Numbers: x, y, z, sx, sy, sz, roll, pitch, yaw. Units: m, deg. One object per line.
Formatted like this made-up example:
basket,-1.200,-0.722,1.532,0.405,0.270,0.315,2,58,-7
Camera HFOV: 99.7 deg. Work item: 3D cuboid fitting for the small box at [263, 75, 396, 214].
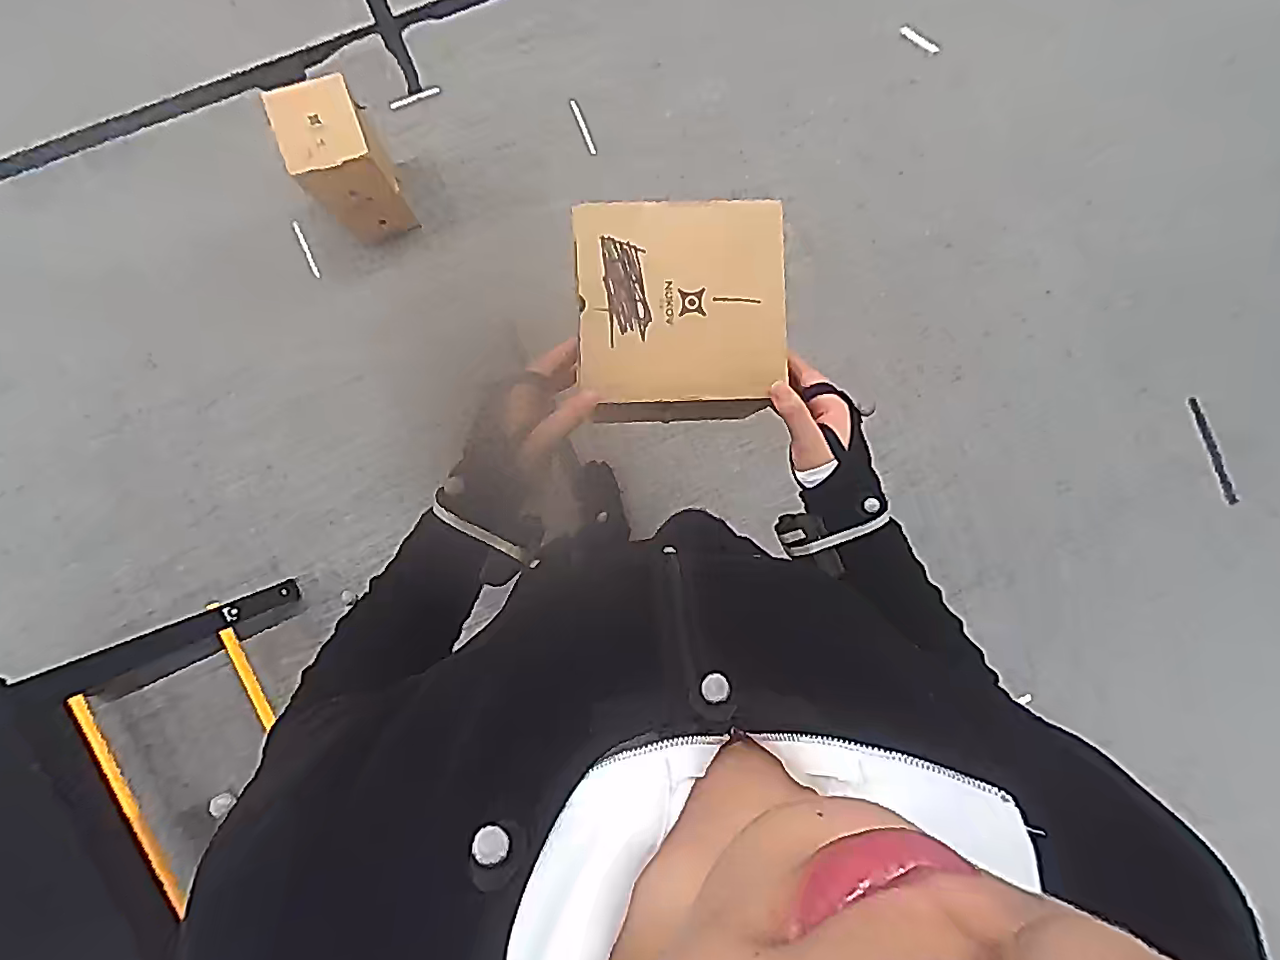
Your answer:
small box,-0.662,-0.717,1.172,0.168,0.176,0.179,-19,93,-4

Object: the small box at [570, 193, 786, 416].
small box,0.030,-0.153,0.524,0.179,0.176,0.168,-2,91,-2

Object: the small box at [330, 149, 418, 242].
small box,-0.678,-0.716,1.337,0.168,0.176,0.179,-24,94,-4
